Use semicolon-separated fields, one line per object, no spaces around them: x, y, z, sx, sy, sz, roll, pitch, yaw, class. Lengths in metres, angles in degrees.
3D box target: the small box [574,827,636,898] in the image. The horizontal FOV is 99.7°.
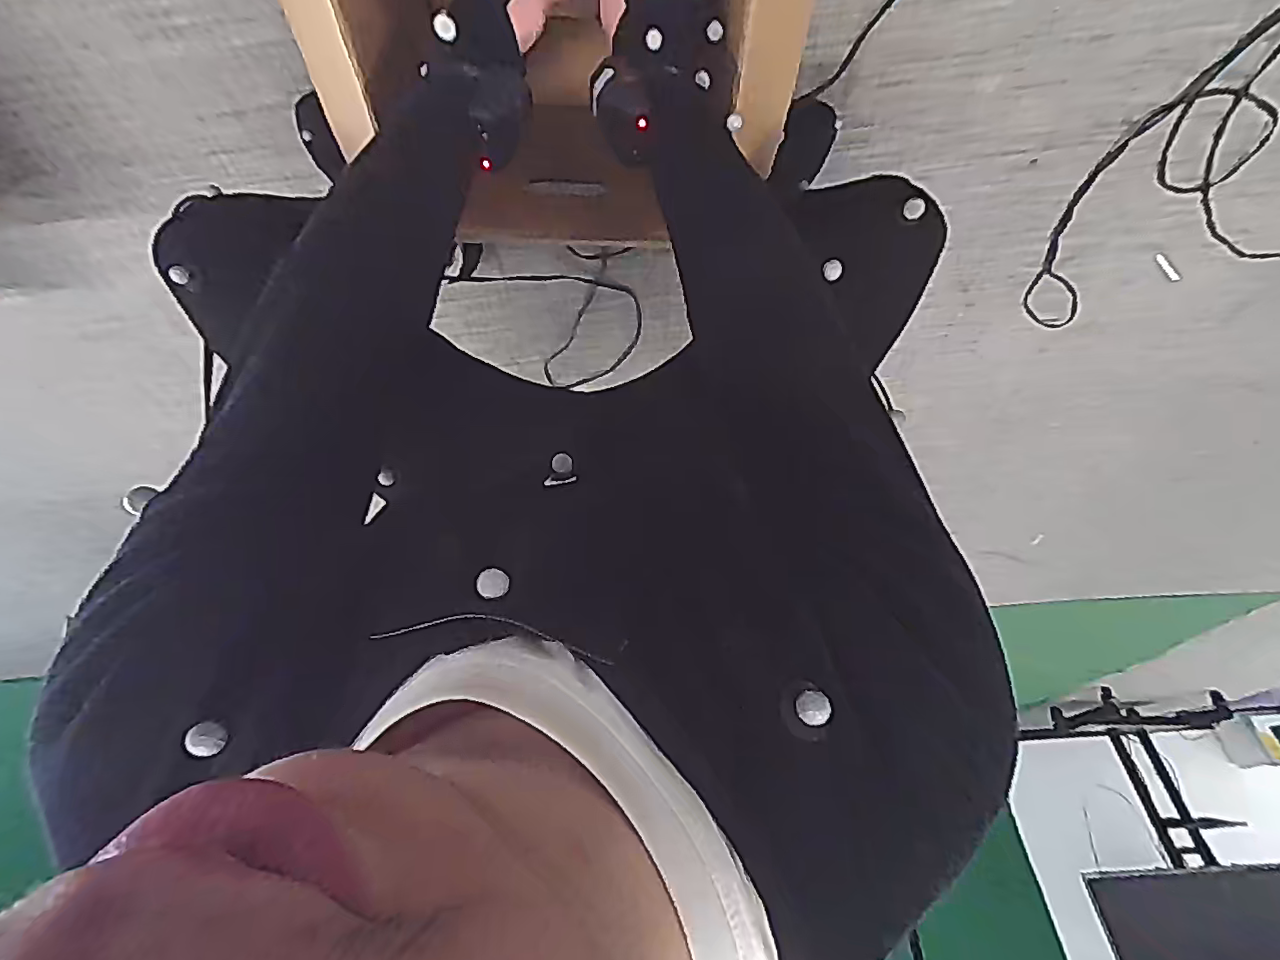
-0.100;1.160;1.641;0.168;0.176;0.179;-6;143;5;small box
